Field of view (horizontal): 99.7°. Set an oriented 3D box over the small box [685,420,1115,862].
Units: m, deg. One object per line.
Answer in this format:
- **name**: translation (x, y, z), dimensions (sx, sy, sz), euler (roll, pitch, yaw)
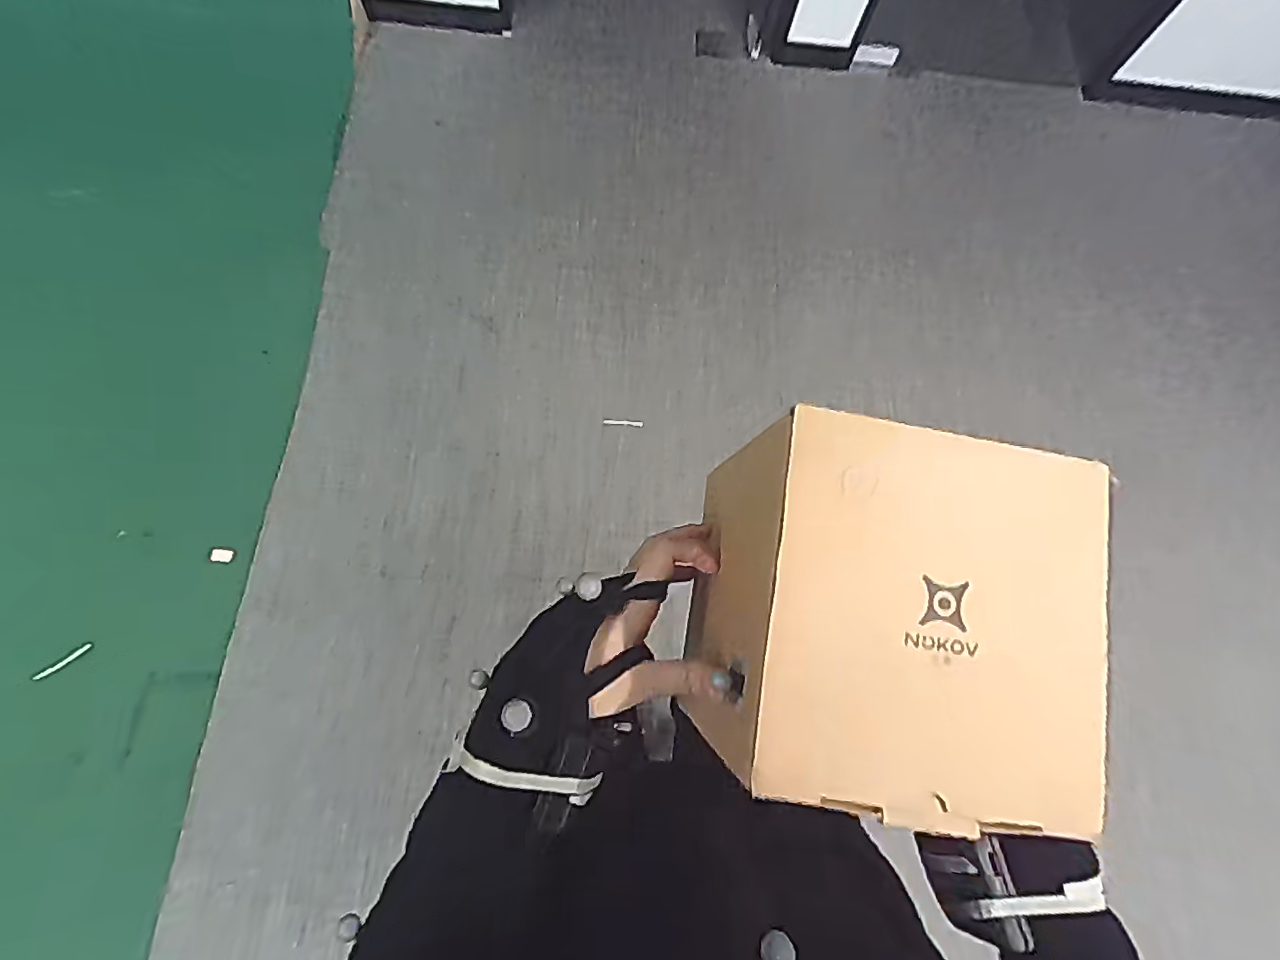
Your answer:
- **small box**: translation (0.132, 0.084, 0.326), dimensions (0.168, 0.176, 0.179), euler (11, 80, -5)
